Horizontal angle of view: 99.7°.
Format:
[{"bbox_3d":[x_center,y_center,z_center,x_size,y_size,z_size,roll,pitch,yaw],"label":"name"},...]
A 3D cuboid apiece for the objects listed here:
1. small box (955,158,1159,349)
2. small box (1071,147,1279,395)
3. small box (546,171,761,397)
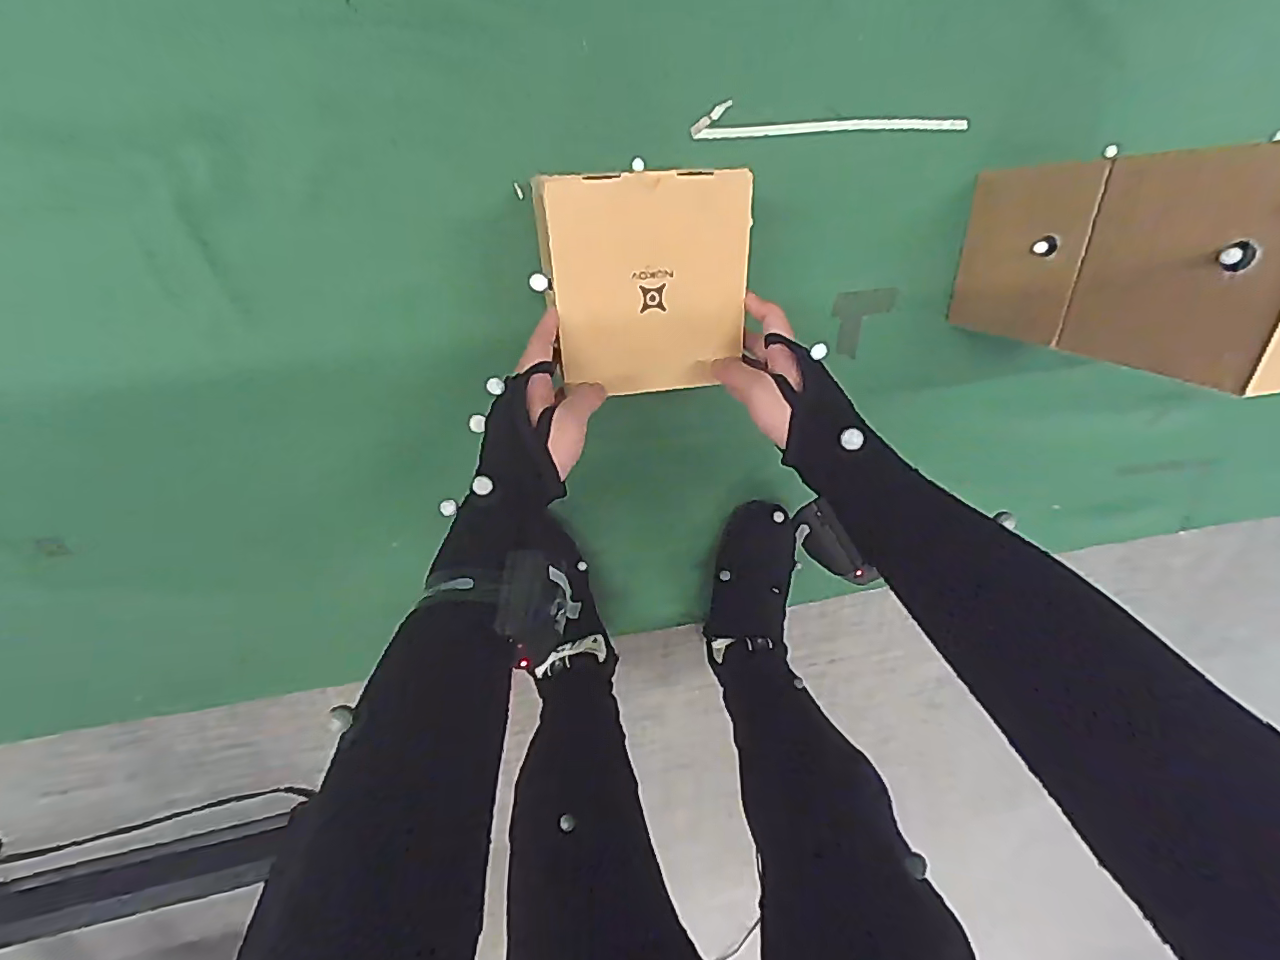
[{"bbox_3d":[0.496,-0.255,0.612,0.168,0.176,0.179,-6,116,-10],"label":"small box"},{"bbox_3d":[0.530,-0.186,0.468,0.168,0.176,0.179,-7,117,-9],"label":"small box"},{"bbox_3d":[0.002,-0.195,0.523,0.168,0.176,0.179,-7,118,-10],"label":"small box"}]
